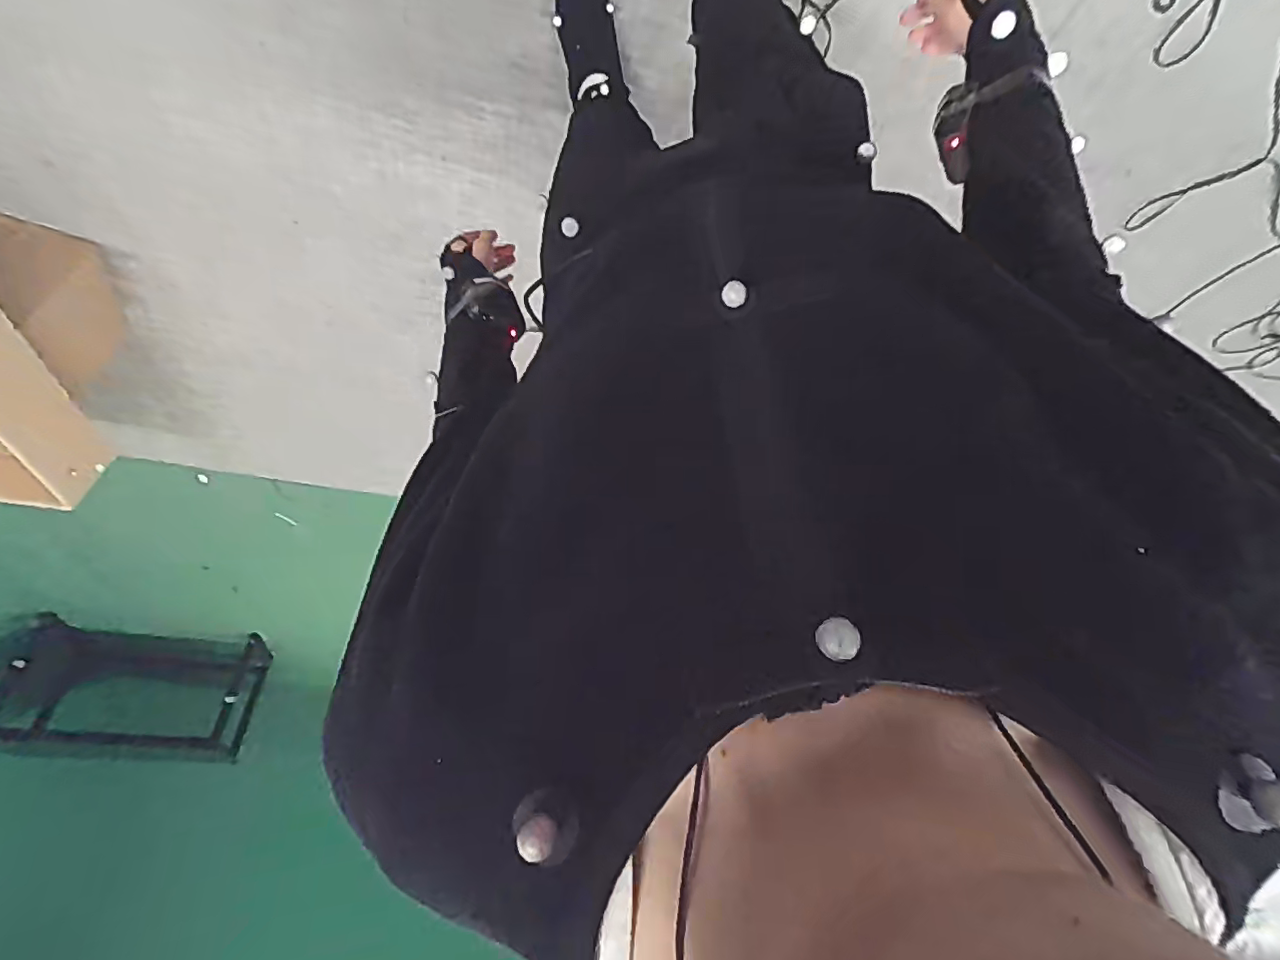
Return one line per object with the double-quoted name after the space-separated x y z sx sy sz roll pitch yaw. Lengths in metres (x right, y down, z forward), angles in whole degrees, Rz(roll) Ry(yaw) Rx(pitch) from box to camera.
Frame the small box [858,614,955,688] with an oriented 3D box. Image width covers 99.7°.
0.787 0.511 1.614 0.179 0.176 0.168 9 143 -11 "small box"
